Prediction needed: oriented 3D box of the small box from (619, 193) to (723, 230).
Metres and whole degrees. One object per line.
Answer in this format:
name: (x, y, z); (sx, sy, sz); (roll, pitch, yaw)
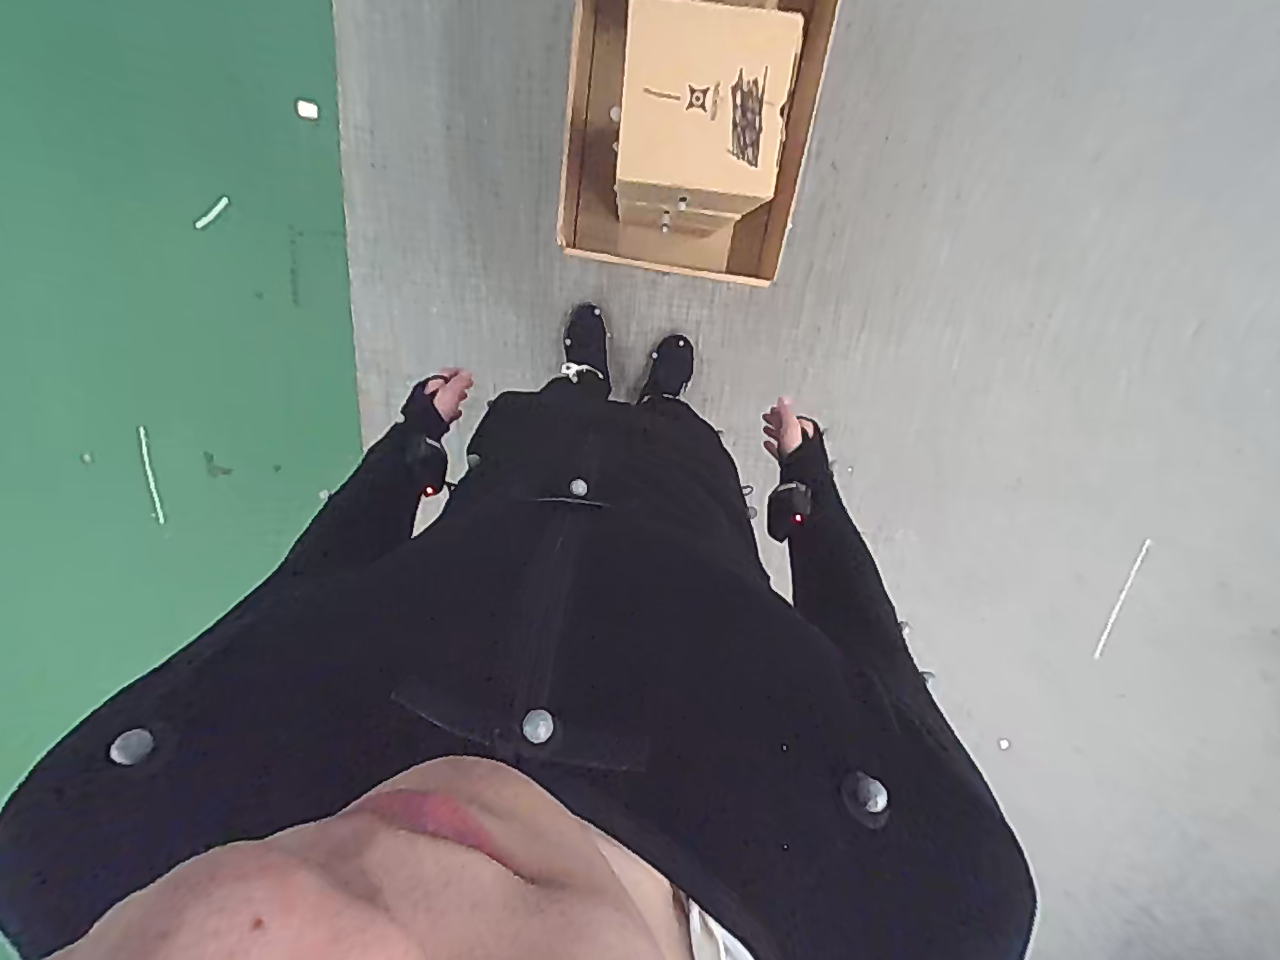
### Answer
small box: (0.062, -0.538, 0.936); (0.179, 0.176, 0.168); (8, 111, -6)

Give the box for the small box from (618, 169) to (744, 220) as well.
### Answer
small box: (0.067, -0.481, 0.783); (0.179, 0.176, 0.168); (7, 112, -3)

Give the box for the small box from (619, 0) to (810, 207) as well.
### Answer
small box: (0.072, -0.423, 0.628); (0.179, 0.176, 0.168); (6, 111, -3)
